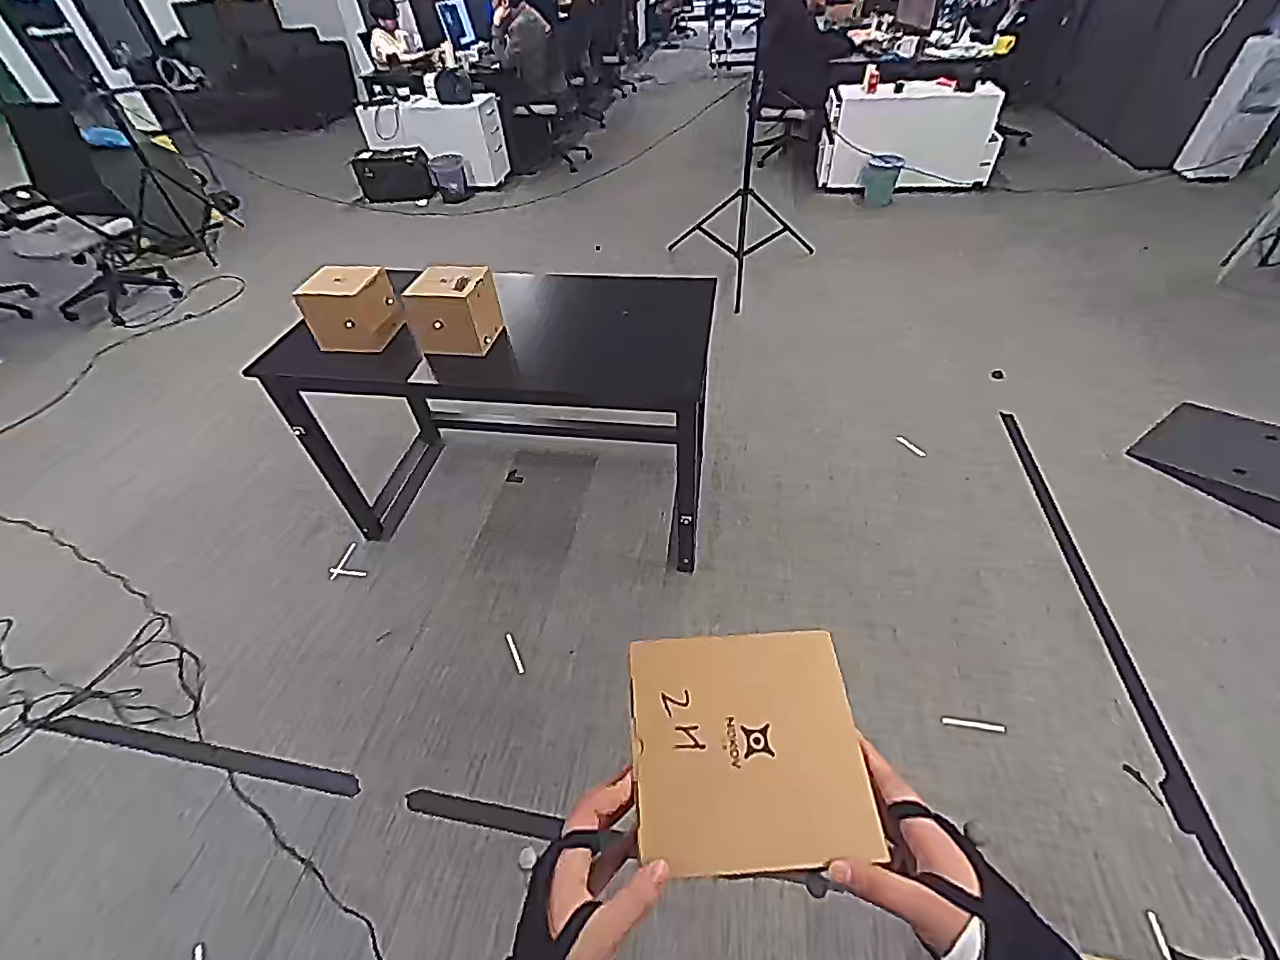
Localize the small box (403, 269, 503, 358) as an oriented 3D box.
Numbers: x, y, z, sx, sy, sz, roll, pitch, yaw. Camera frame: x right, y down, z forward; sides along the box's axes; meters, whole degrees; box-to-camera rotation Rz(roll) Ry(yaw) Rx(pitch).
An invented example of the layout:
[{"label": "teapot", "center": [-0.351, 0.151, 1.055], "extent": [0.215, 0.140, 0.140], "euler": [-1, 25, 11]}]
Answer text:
[{"label": "small box", "center": [-0.482, -0.439, 1.431], "extent": [0.179, 0.176, 0.168], "euler": [4, 46, 10]}]

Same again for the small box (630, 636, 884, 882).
[{"label": "small box", "center": [0.081, 0.249, 0.482], "extent": [0.179, 0.176, 0.168], "euler": [-3, 54, -1]}]

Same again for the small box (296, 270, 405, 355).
[{"label": "small box", "center": [-0.774, -0.454, 1.469], "extent": [0.179, 0.176, 0.168], "euler": [2, 45, 7]}]
